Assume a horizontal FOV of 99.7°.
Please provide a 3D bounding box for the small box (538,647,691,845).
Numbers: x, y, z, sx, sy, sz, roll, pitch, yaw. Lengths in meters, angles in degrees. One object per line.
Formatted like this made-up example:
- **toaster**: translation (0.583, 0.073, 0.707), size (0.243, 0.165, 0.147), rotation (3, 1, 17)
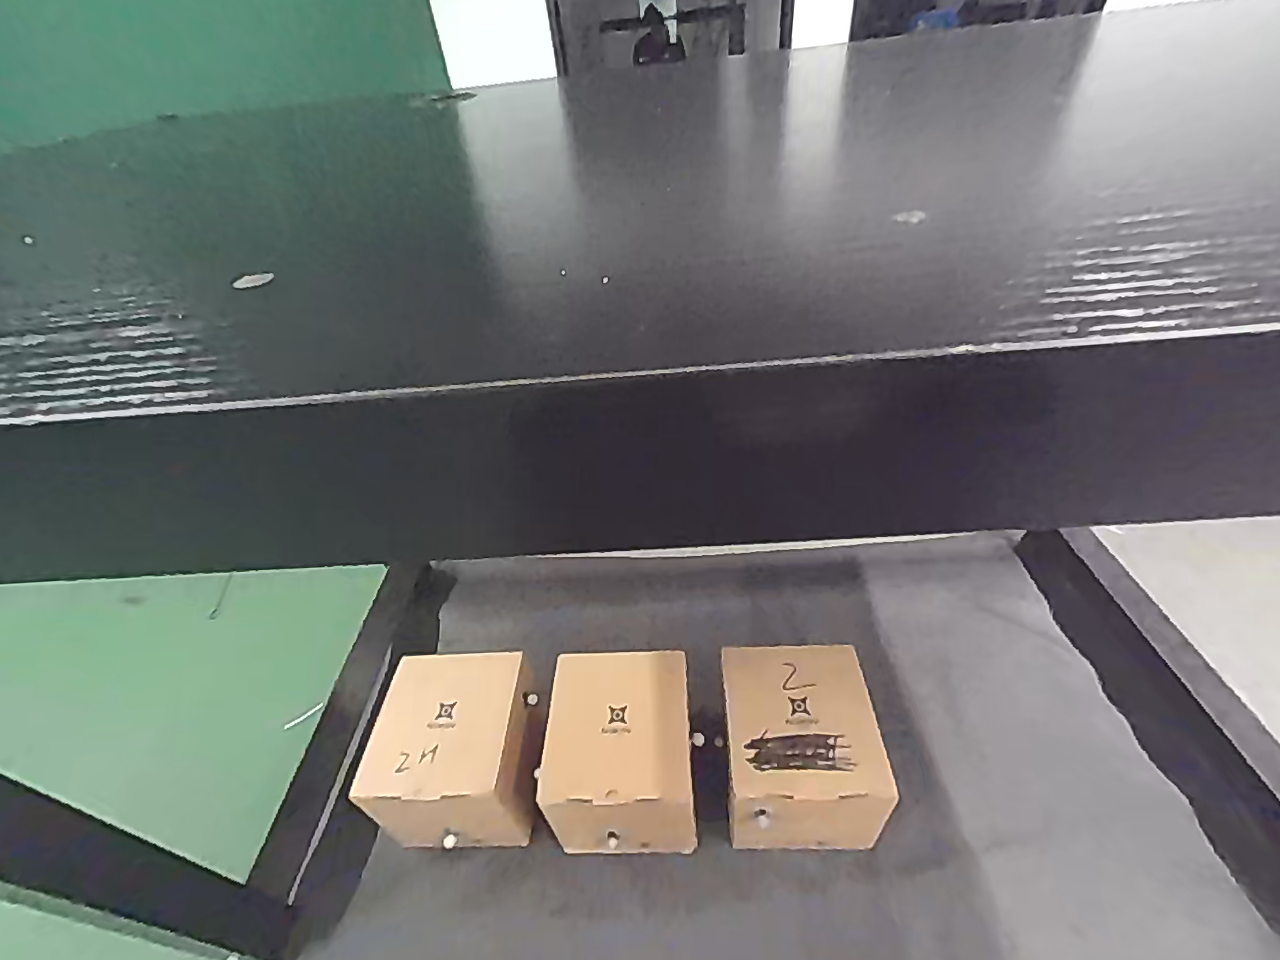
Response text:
- **small box**: translation (-0.021, 0.334, 0.685), size (0.168, 0.176, 0.179), rotation (-2, 42, 4)

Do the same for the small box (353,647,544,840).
- **small box**: translation (-0.228, 0.339, 0.703), size (0.168, 0.176, 0.179), rotation (-3, 41, 4)
